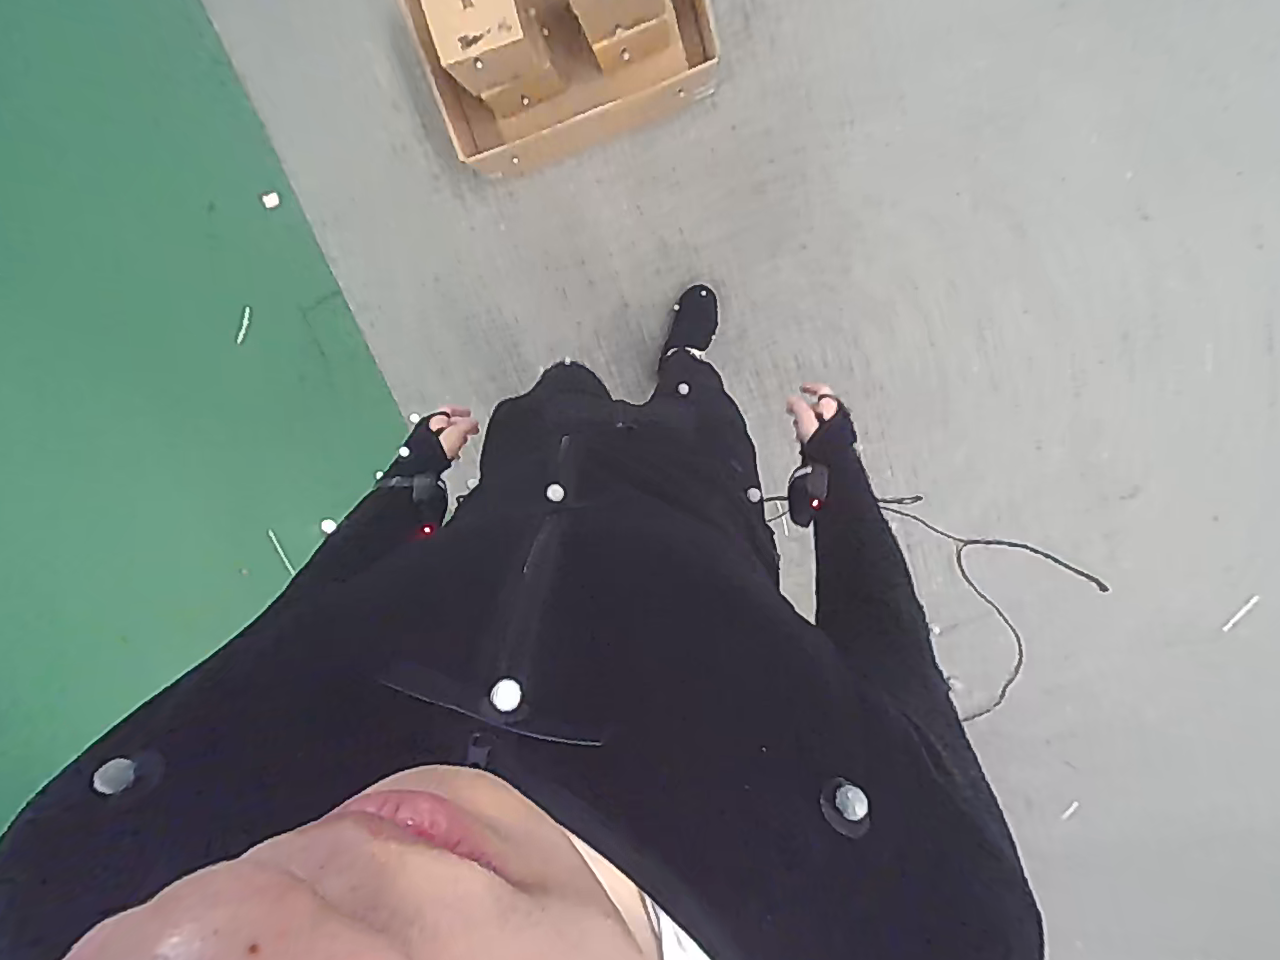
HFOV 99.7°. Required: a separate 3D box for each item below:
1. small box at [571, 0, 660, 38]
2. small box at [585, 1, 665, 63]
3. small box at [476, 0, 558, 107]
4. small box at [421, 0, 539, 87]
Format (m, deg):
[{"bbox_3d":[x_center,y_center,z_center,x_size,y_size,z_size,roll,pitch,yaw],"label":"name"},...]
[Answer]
[{"bbox_3d":[-0.064,-0.979,1.002,0.168,0.176,0.179,-14,109,11],"label":"small box"},{"bbox_3d":[-0.048,-1.033,1.155,0.168,0.176,0.179,-16,108,10],"label":"small box"},{"bbox_3d":[-0.297,-0.962,1.198,0.168,0.176,0.179,-18,108,9],"label":"small box"},{"bbox_3d":[-0.312,-0.907,1.043,0.168,0.176,0.179,-12,108,9],"label":"small box"}]
